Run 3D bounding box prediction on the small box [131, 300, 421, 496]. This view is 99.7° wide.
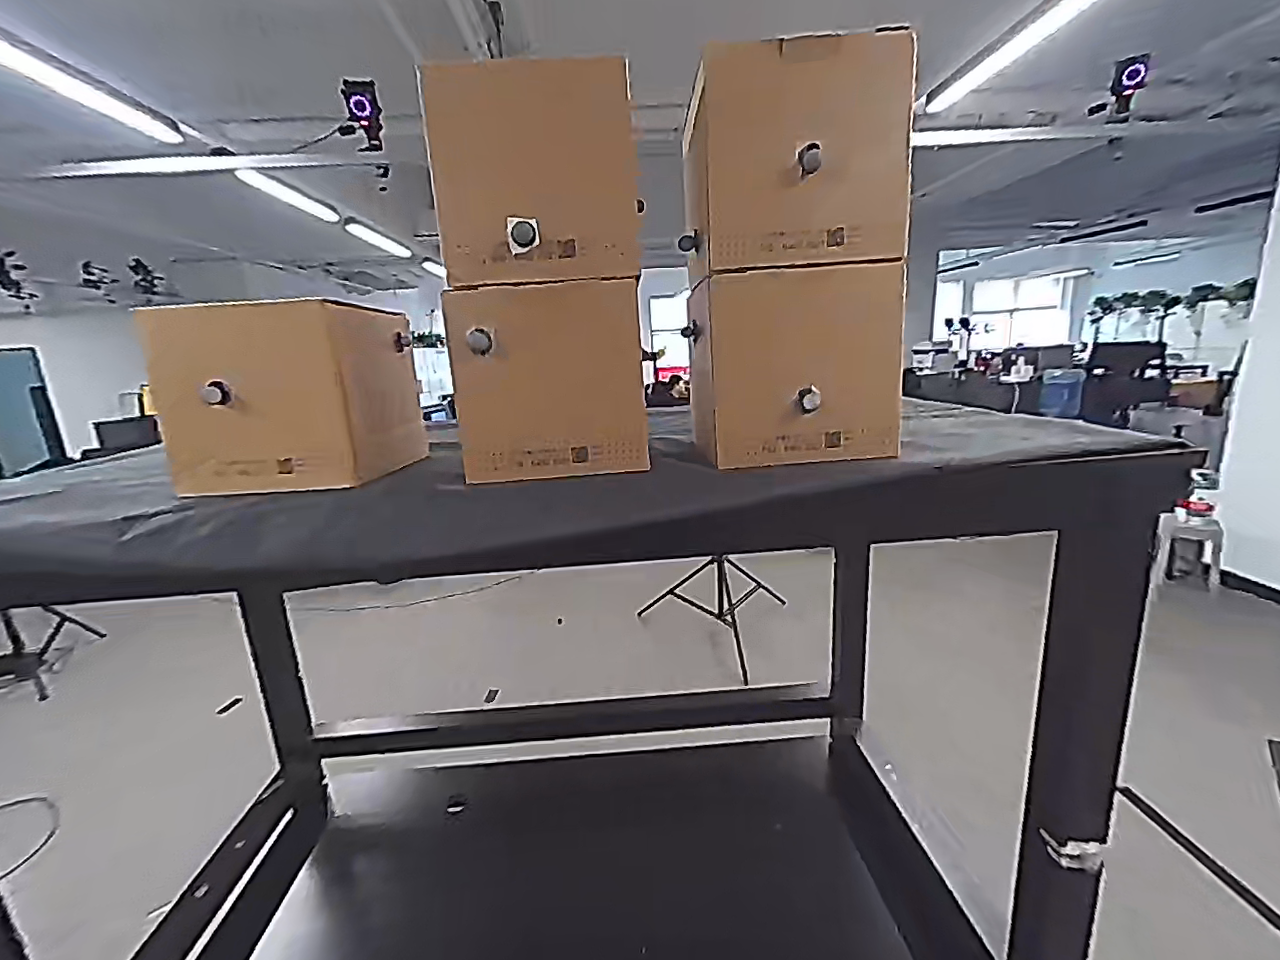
[{"bbox_3d":[-0.340,-0.081,0.549,0.168,0.176,0.179,-3,12,0],"label":"small box"}]

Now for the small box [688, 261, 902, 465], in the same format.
[{"bbox_3d":[0.140,-0.112,0.546,0.168,0.176,0.179,-5,13,-1],"label":"small box"}]

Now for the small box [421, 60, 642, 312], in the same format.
[{"bbox_3d":[-0.089,-0.257,0.516,0.168,0.176,0.179,-5,13,-3],"label":"small box"}]

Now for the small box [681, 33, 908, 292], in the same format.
[{"bbox_3d":[0.131,-0.273,0.511,0.168,0.176,0.179,-3,13,0],"label":"small box"}]
